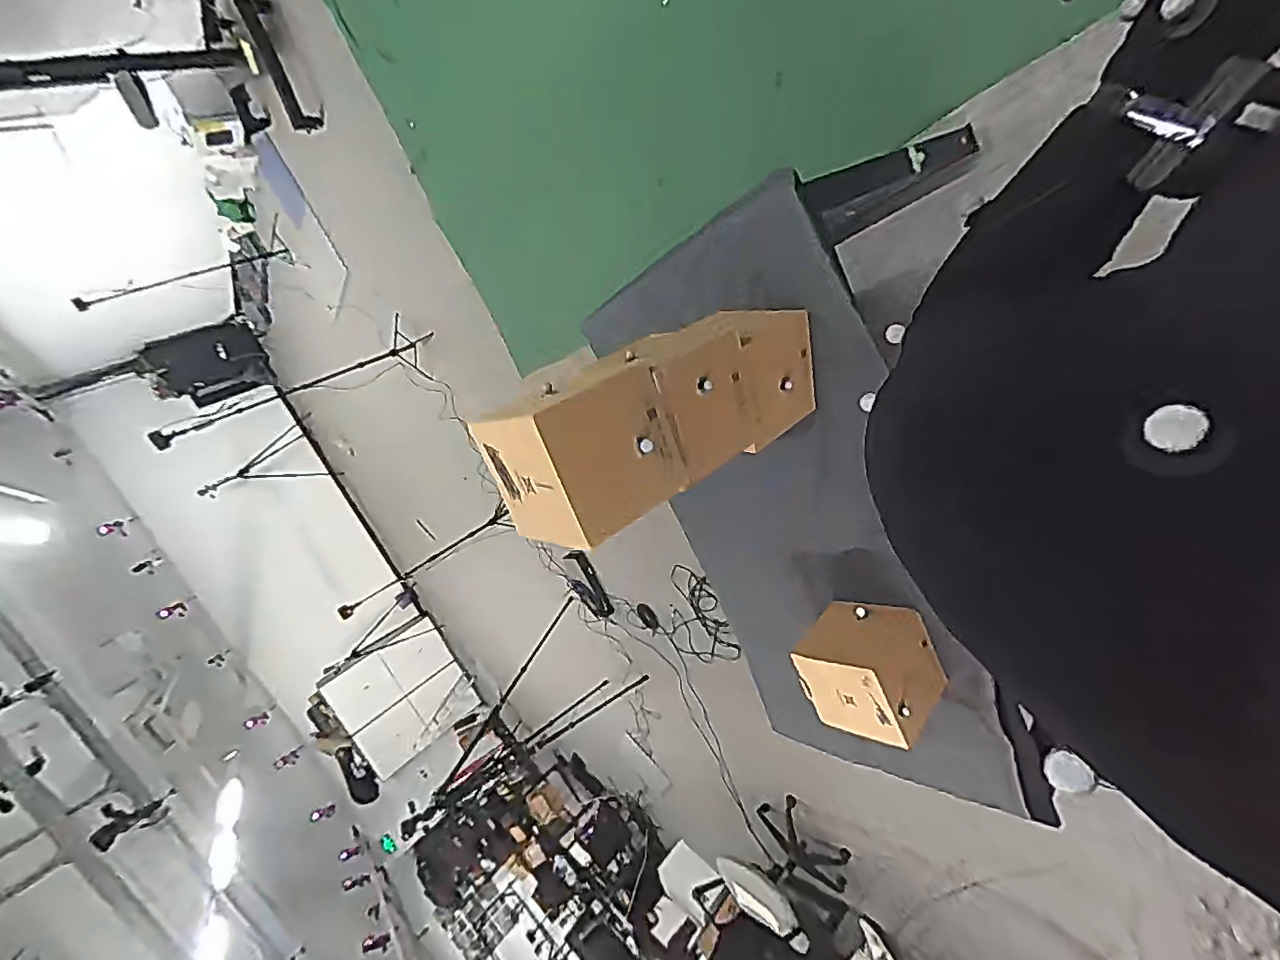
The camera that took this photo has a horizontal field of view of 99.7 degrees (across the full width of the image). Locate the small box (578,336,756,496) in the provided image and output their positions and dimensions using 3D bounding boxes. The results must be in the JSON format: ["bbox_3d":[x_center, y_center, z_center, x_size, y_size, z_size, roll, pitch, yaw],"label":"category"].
[{"bbox_3d":[0.046,-0.098,0.769,0.179,0.176,0.168,12,127,49],"label":"small box"}]

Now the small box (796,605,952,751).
[{"bbox_3d":[0.427,0.347,0.987,0.179,0.176,0.168,-11,110,56],"label":"small box"}]

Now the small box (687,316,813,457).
[{"bbox_3d":[0.162,-0.159,0.867,0.179,0.176,0.168,18,132,46],"label":"small box"}]

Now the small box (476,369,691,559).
[{"bbox_3d":[-0.068,-0.026,0.675,0.179,0.176,0.168,3,121,51],"label":"small box"}]
